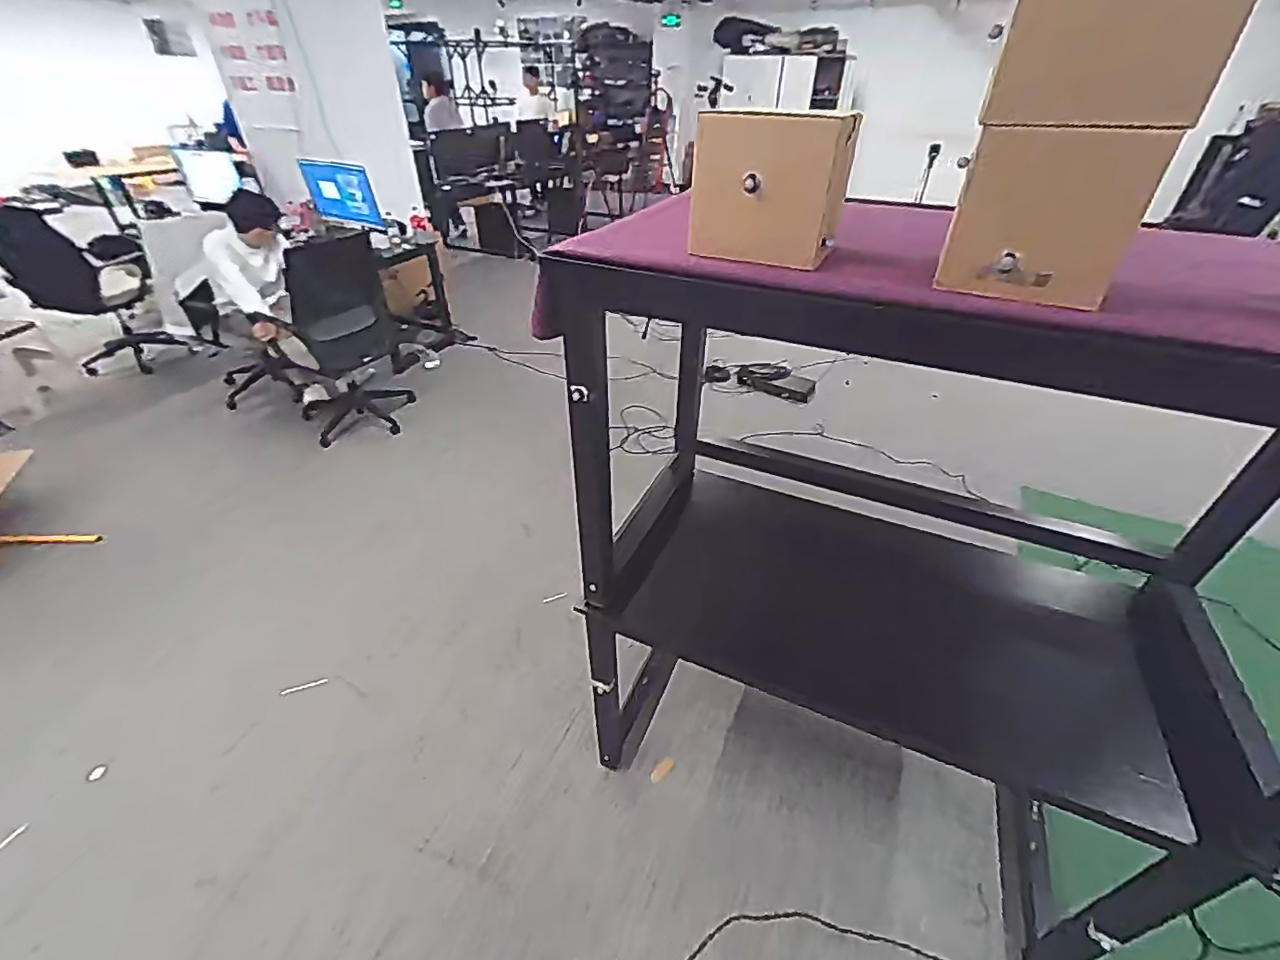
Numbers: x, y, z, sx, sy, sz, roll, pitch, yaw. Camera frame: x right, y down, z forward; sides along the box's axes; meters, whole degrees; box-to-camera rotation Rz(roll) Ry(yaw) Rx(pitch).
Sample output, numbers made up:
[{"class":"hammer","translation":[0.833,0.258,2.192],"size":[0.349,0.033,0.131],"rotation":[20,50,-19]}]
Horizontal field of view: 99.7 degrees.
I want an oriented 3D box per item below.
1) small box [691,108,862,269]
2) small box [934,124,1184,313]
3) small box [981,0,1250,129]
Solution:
[{"class":"small box","translation":[0.180,-0.394,0.728],"size":[0.179,0.176,0.168],"rotation":[16,38,20]},{"class":"small box","translation":[0.456,-0.309,0.622],"size":[0.168,0.176,0.179],"rotation":[17,40,23]},{"class":"small box","translation":[0.452,-0.441,0.523],"size":[0.179,0.176,0.168],"rotation":[16,39,22]}]
